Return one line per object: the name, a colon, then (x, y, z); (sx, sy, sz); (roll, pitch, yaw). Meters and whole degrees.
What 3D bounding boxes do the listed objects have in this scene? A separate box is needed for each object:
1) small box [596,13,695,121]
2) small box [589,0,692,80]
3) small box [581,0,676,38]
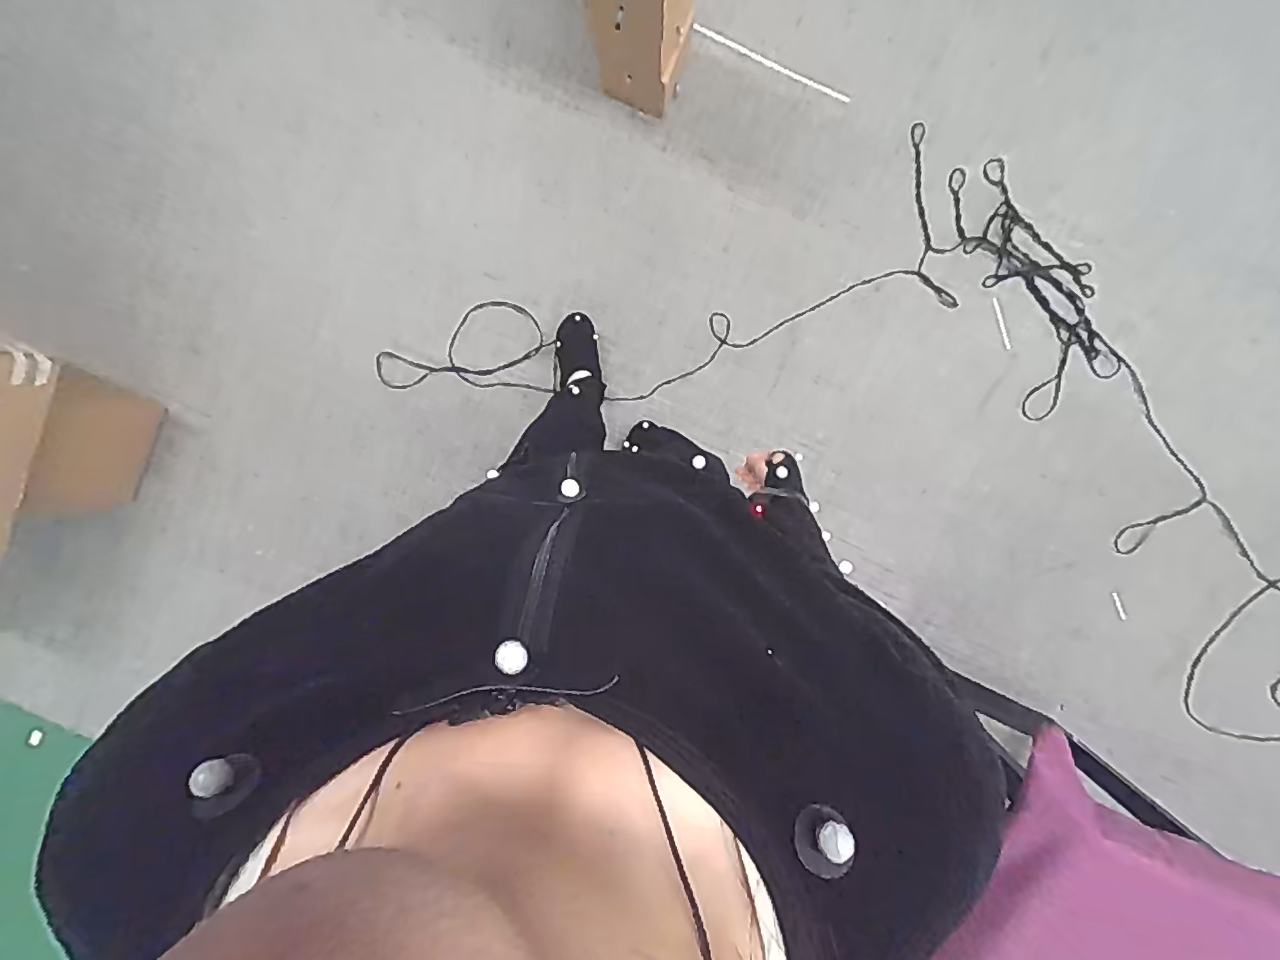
small box: (0.014, -0.998, 1.279); (0.179, 0.176, 0.168); (23, 98, -2)
small box: (0.000, -0.980, 1.117); (0.179, 0.176, 0.168); (24, 99, -2)
small box: (-0.007, -0.941, 0.958); (0.179, 0.176, 0.168); (22, 98, -2)
